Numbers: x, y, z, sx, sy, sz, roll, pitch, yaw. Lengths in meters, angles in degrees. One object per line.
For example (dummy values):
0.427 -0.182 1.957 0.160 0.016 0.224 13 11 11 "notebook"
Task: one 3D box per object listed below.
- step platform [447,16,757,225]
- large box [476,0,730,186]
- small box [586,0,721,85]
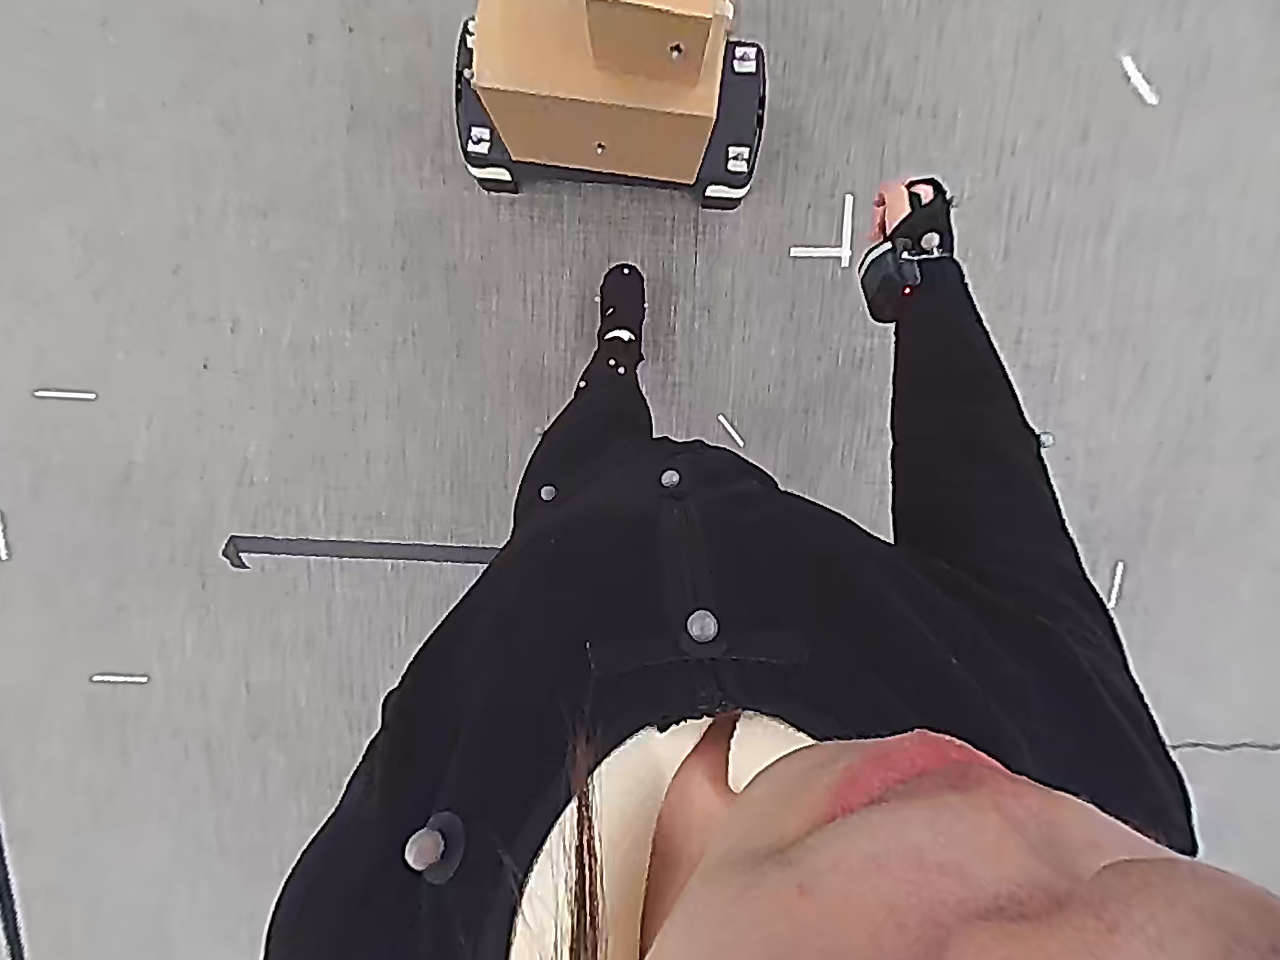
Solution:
-0.081 -0.808 1.241 0.684 0.204 0.286 8 99 -2 "step platform"
-0.055 -0.778 1.005 0.408 0.320 0.320 6 99 -1 "large box"
0.026 -0.703 0.771 0.179 0.176 0.168 9 100 -2 "small box"
